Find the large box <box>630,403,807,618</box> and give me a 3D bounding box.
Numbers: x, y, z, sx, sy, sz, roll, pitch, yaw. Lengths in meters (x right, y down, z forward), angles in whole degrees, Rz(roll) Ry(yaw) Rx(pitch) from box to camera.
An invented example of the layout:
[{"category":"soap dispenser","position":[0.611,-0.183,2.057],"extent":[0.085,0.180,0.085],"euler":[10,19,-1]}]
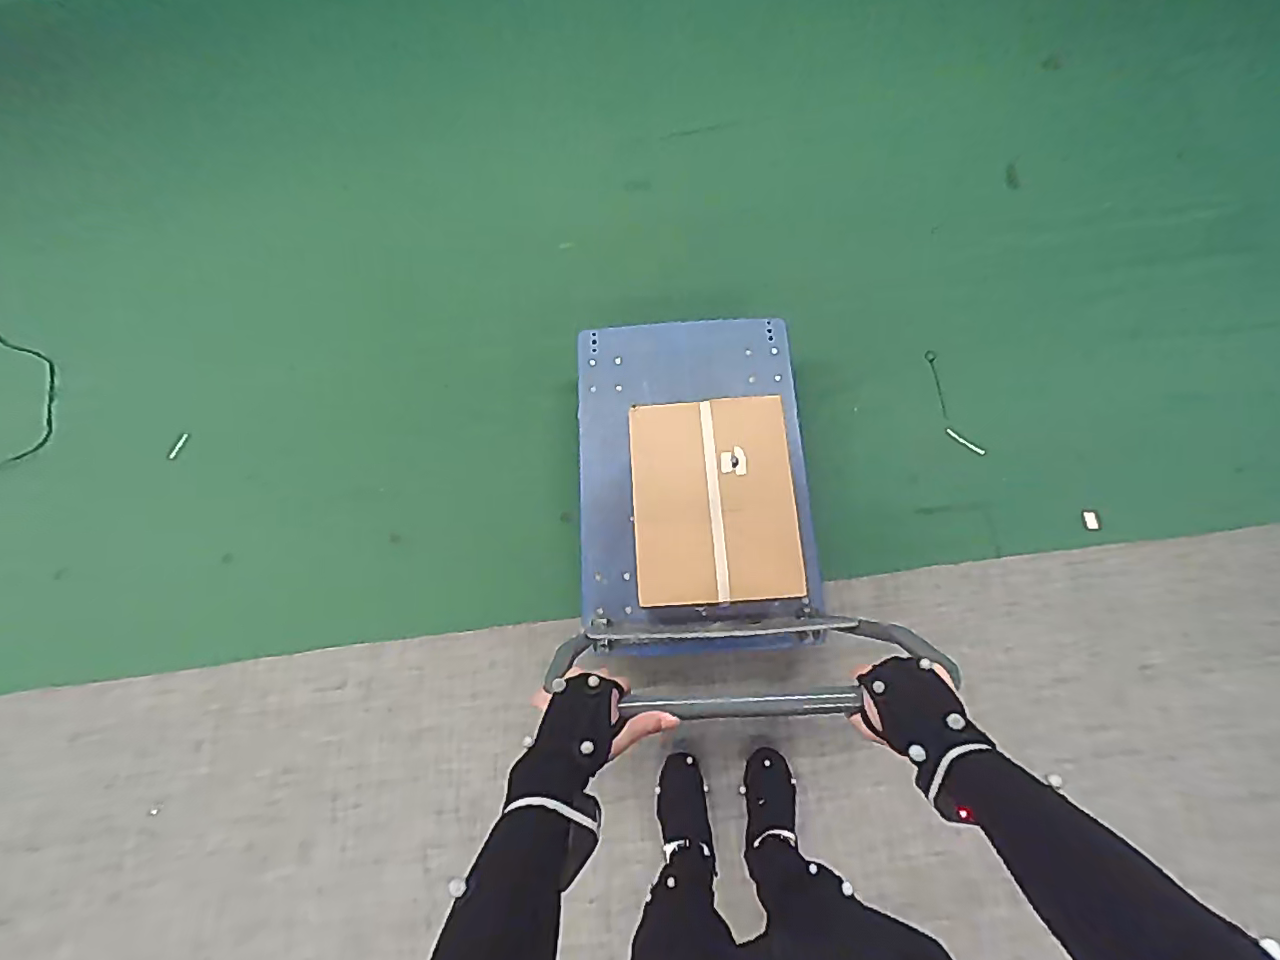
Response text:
[{"category":"large box","position":[0.153,0.085,1.197],"extent":[0.320,0.320,0.408],"euler":[-4,73,1]}]
